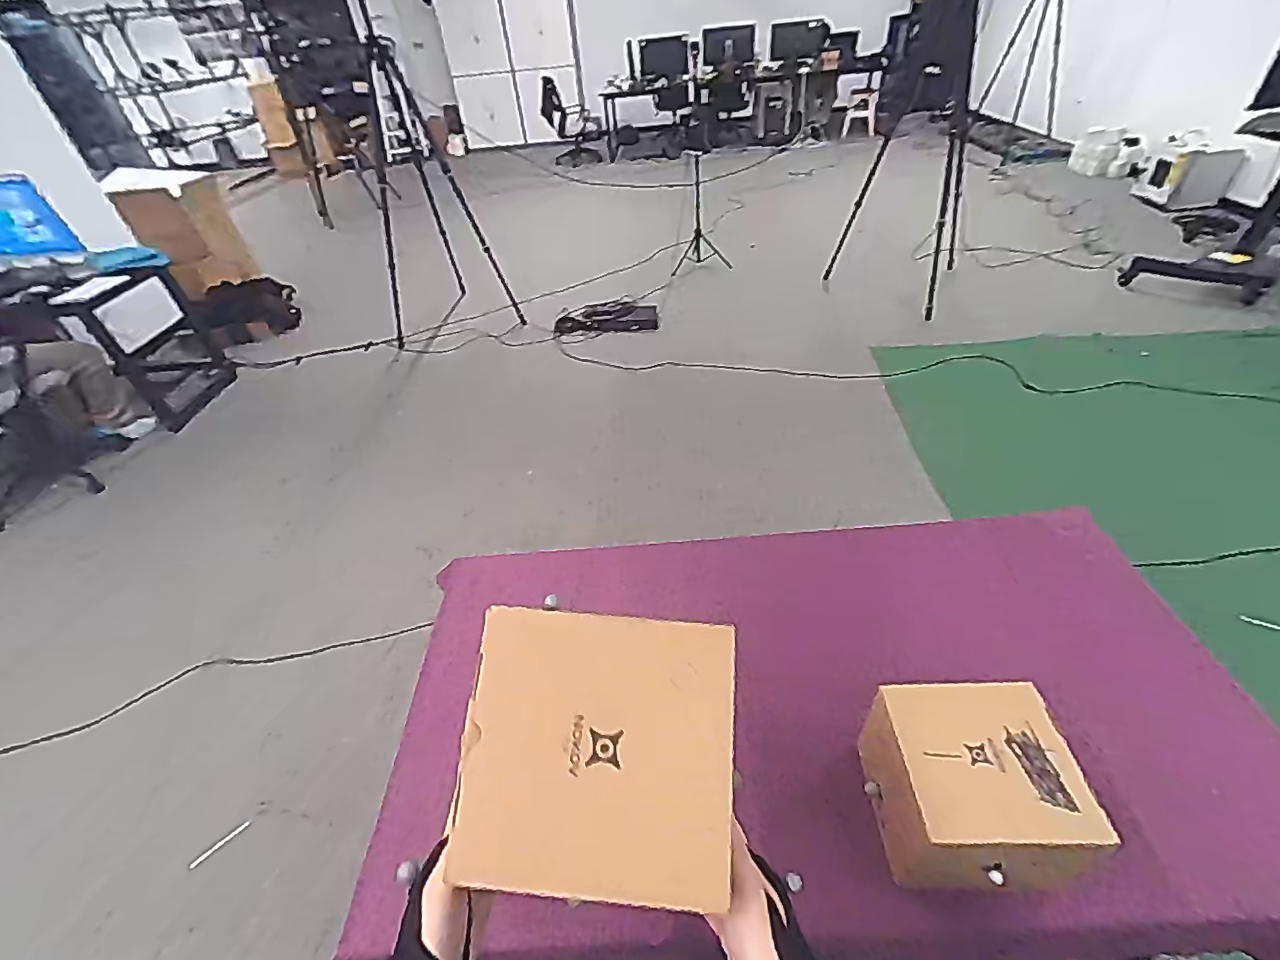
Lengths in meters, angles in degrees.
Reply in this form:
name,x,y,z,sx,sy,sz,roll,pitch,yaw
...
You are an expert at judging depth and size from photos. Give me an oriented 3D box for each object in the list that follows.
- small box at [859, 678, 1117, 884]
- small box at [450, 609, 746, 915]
name,x,y,z,sx,sy,sz,roll,pitch,yaw
small box,0.375,0.348,0.627,0.179,0.176,0.168,-4,41,5
small box,-0.019,0.196,0.420,0.179,0.176,0.168,3,71,4
